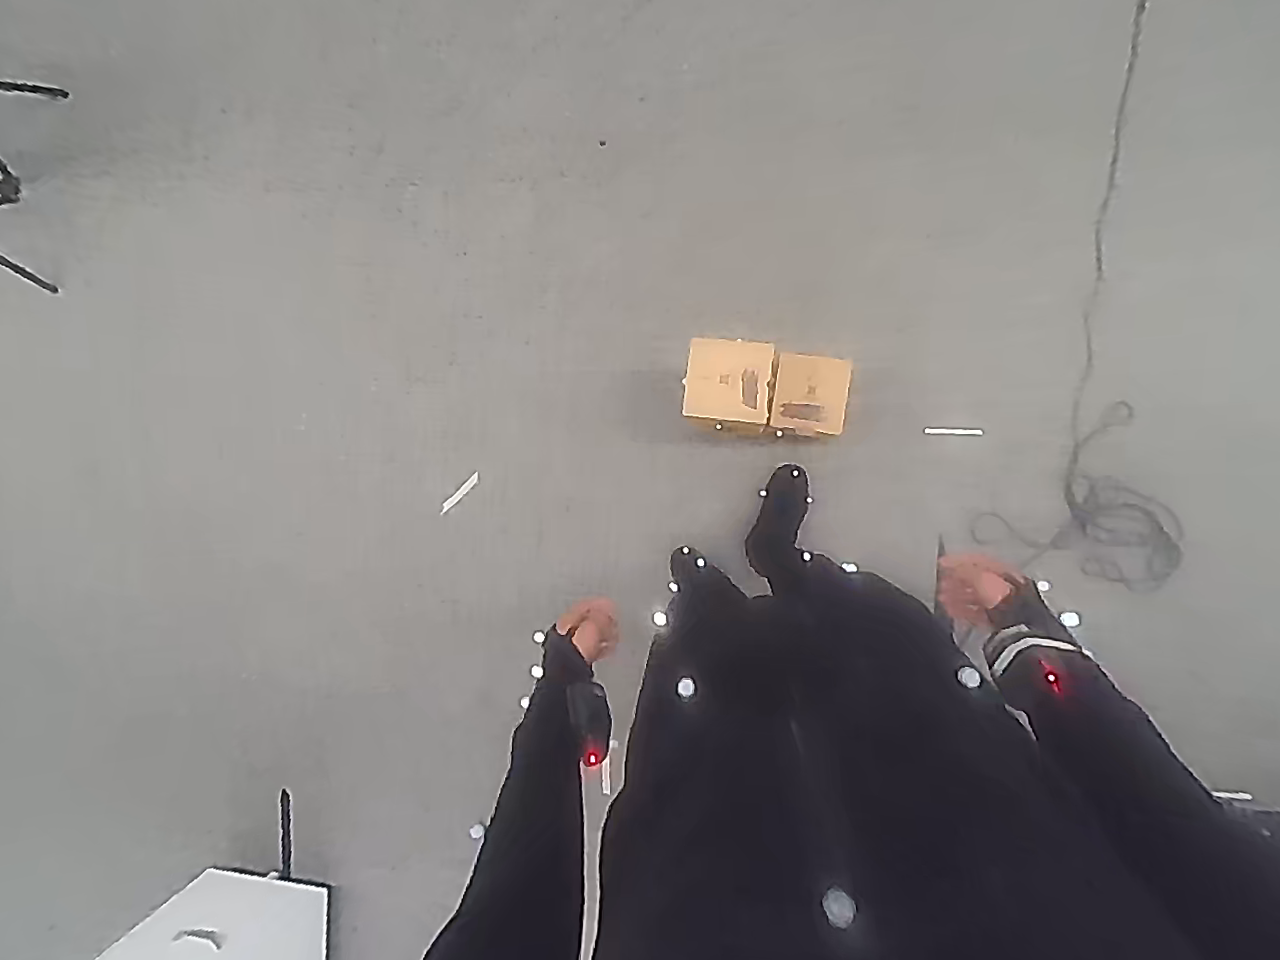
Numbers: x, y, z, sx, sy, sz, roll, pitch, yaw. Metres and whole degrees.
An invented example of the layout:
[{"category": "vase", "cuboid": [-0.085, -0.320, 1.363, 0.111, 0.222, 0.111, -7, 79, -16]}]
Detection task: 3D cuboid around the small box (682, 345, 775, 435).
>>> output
[{"category": "small box", "cuboid": [0.193, -0.191, 1.191, 0.179, 0.176, 0.168, 6, 91, 9]}]
